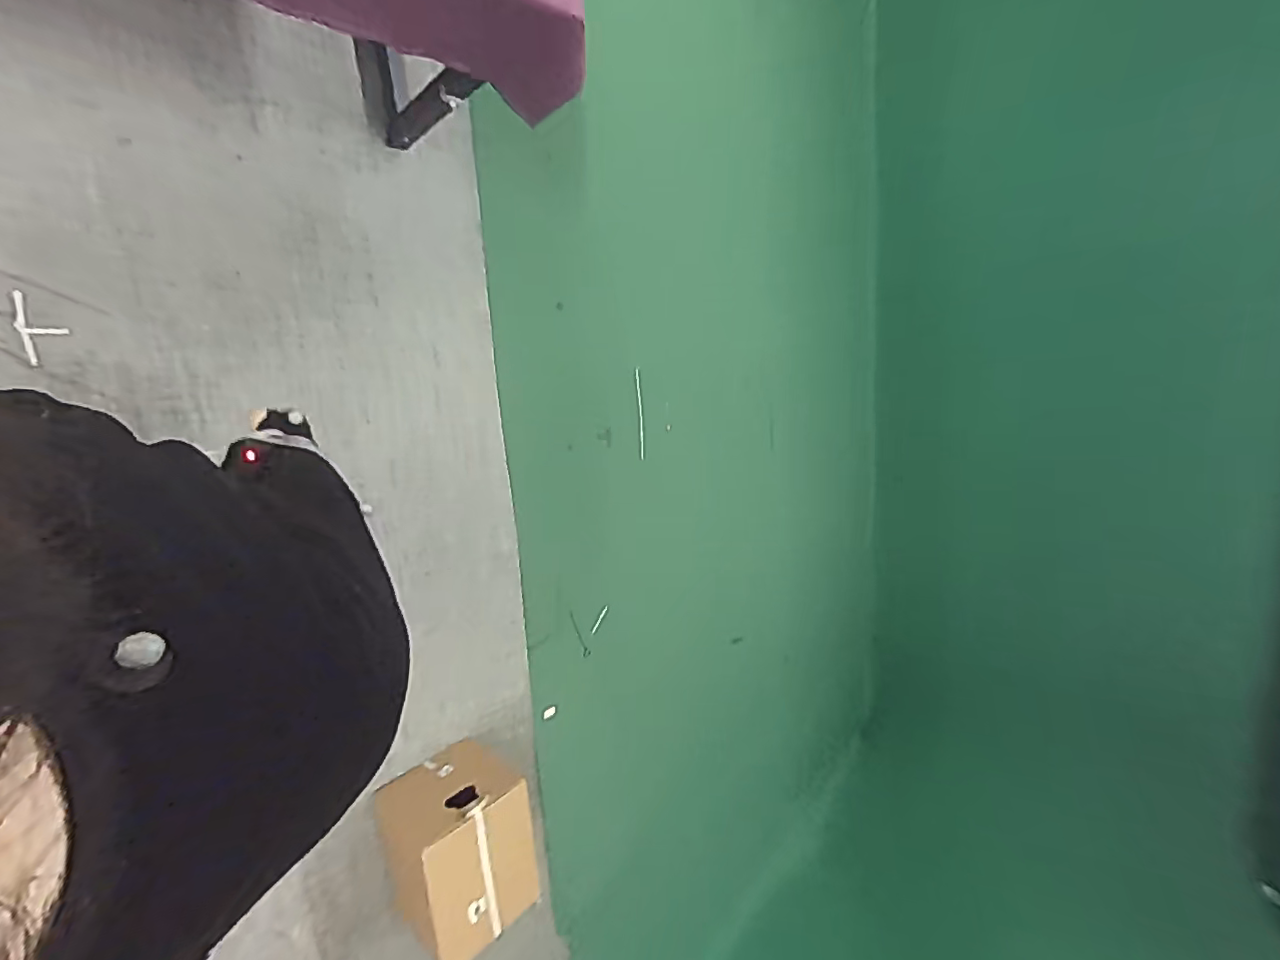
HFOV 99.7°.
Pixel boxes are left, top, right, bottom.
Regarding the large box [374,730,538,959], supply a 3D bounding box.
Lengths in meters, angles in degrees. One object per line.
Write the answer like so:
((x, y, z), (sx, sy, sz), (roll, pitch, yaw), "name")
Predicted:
((-0.534, 1.038, 1.585), (0.320, 0.320, 0.408), (-16, 107, -45), "large box")
